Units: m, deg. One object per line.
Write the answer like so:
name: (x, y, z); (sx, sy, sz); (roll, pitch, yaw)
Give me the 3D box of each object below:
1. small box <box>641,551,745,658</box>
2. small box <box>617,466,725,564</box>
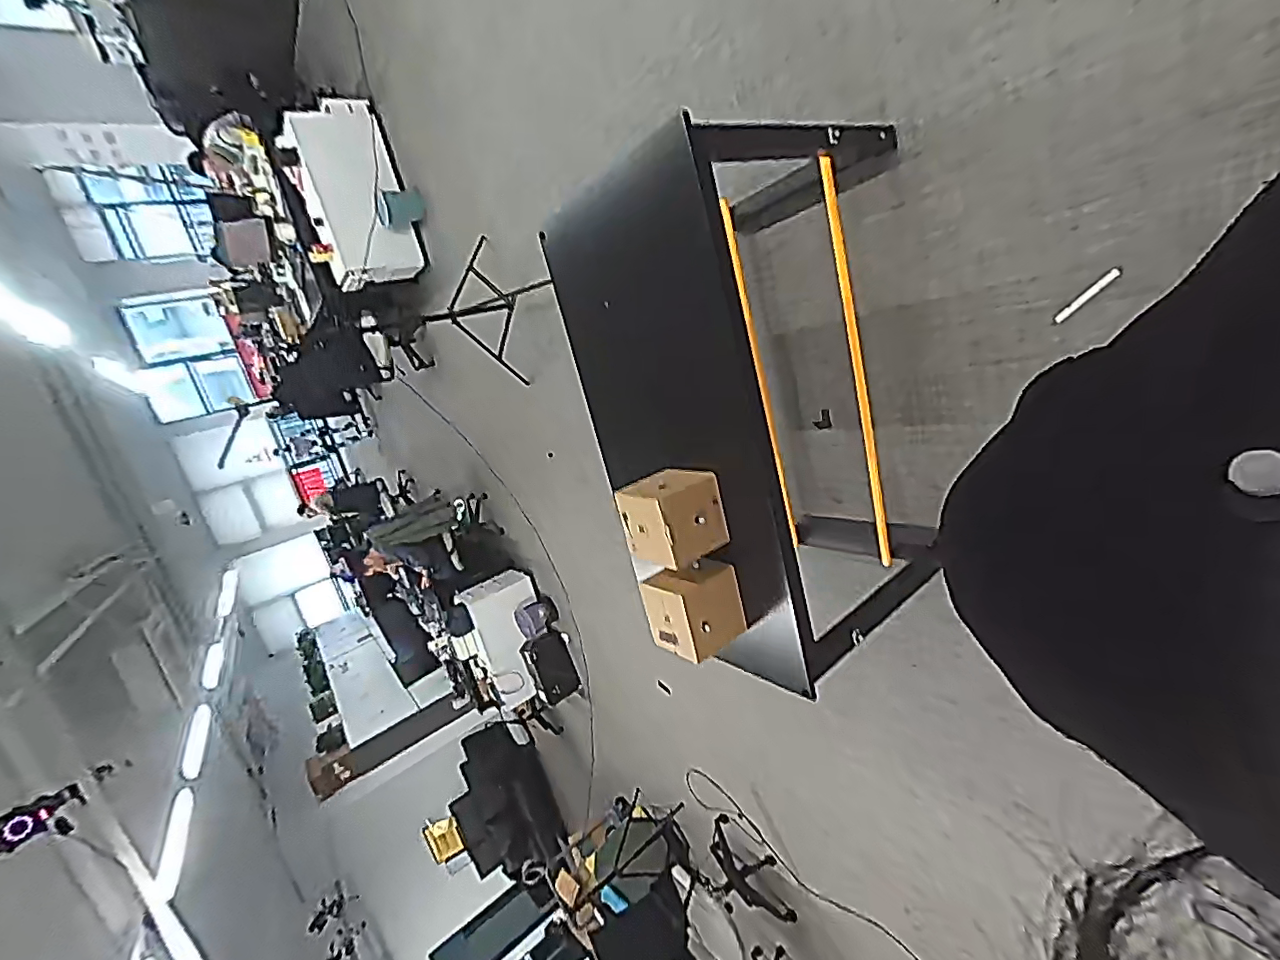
small box: (0.133, 0.290, 1.306); (0.168, 0.176, 0.179); (5, 113, 54)
small box: (0.078, 0.071, 1.245); (0.179, 0.176, 0.168); (6, 115, 54)
